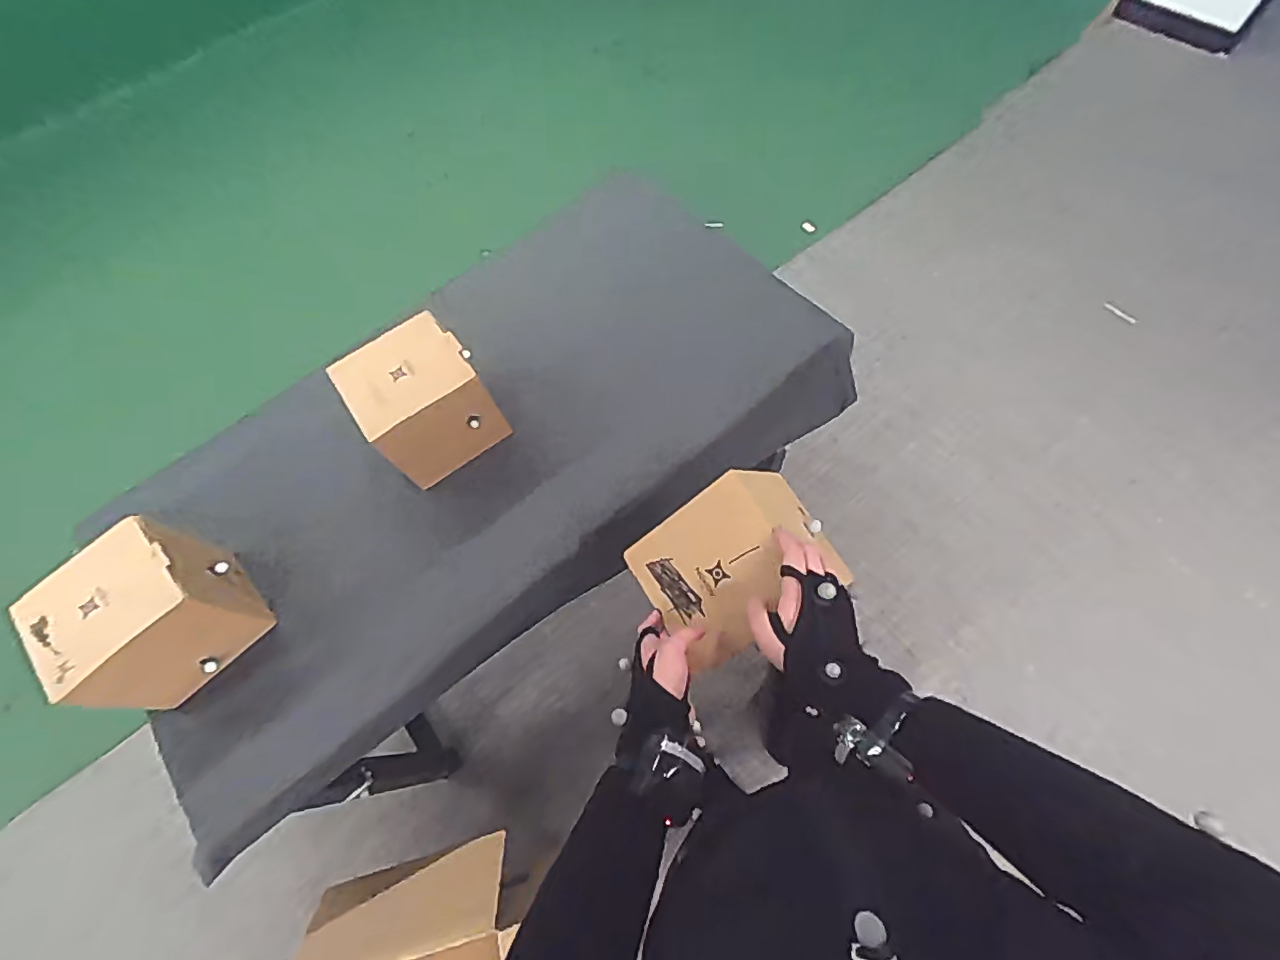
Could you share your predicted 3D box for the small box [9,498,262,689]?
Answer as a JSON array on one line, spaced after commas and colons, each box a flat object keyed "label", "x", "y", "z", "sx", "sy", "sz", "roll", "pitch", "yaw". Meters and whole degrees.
[{"label": "small box", "x": -0.669, "y": 0.162, "z": 0.745, "sx": 0.179, "sy": 0.176, "sz": 0.168, "roll": -43, "pitch": 69, "yaw": -14}]

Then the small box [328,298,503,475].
[{"label": "small box", "x": -0.337, "y": -0.141, "z": 0.851, "sx": 0.179, "sy": 0.176, "sz": 0.168, "roll": -36, "pitch": 67, "yaw": -9}]

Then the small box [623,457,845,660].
[{"label": "small box", "x": 0.118, "y": 0.090, "z": 0.655, "sx": 0.179, "sy": 0.176, "sz": 0.168, "roll": -38, "pitch": 71, "yaw": 25}]
